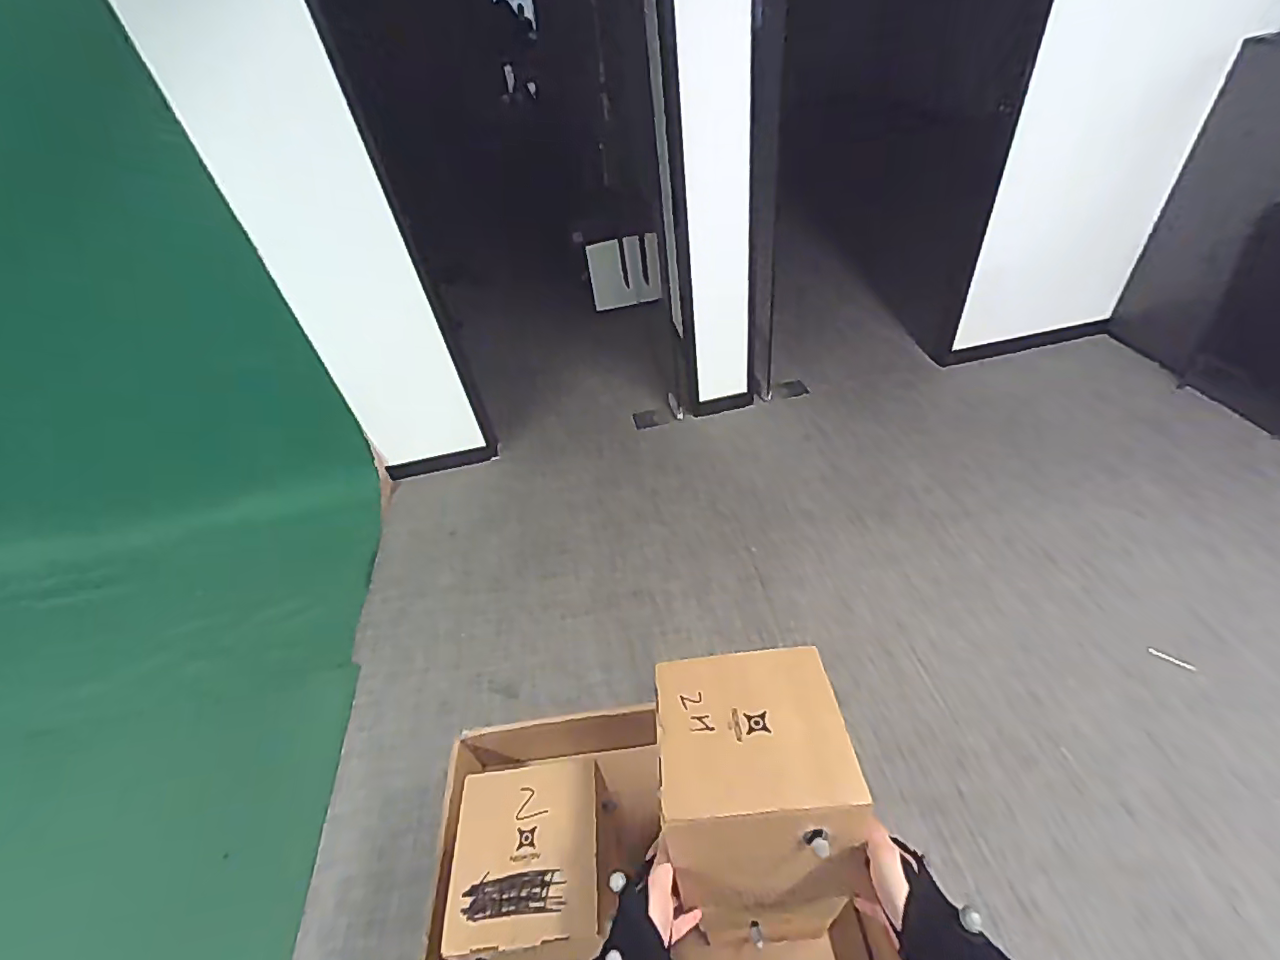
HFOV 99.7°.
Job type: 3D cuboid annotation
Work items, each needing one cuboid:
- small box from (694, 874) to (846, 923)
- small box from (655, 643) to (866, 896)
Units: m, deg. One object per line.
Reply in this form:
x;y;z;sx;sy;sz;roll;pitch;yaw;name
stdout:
0.140;0.424;0.675;0.168;0.176;0.179;-8;44;4;small box
0.113;0.295;0.556;0.179;0.176;0.168;-8;31;6;small box
